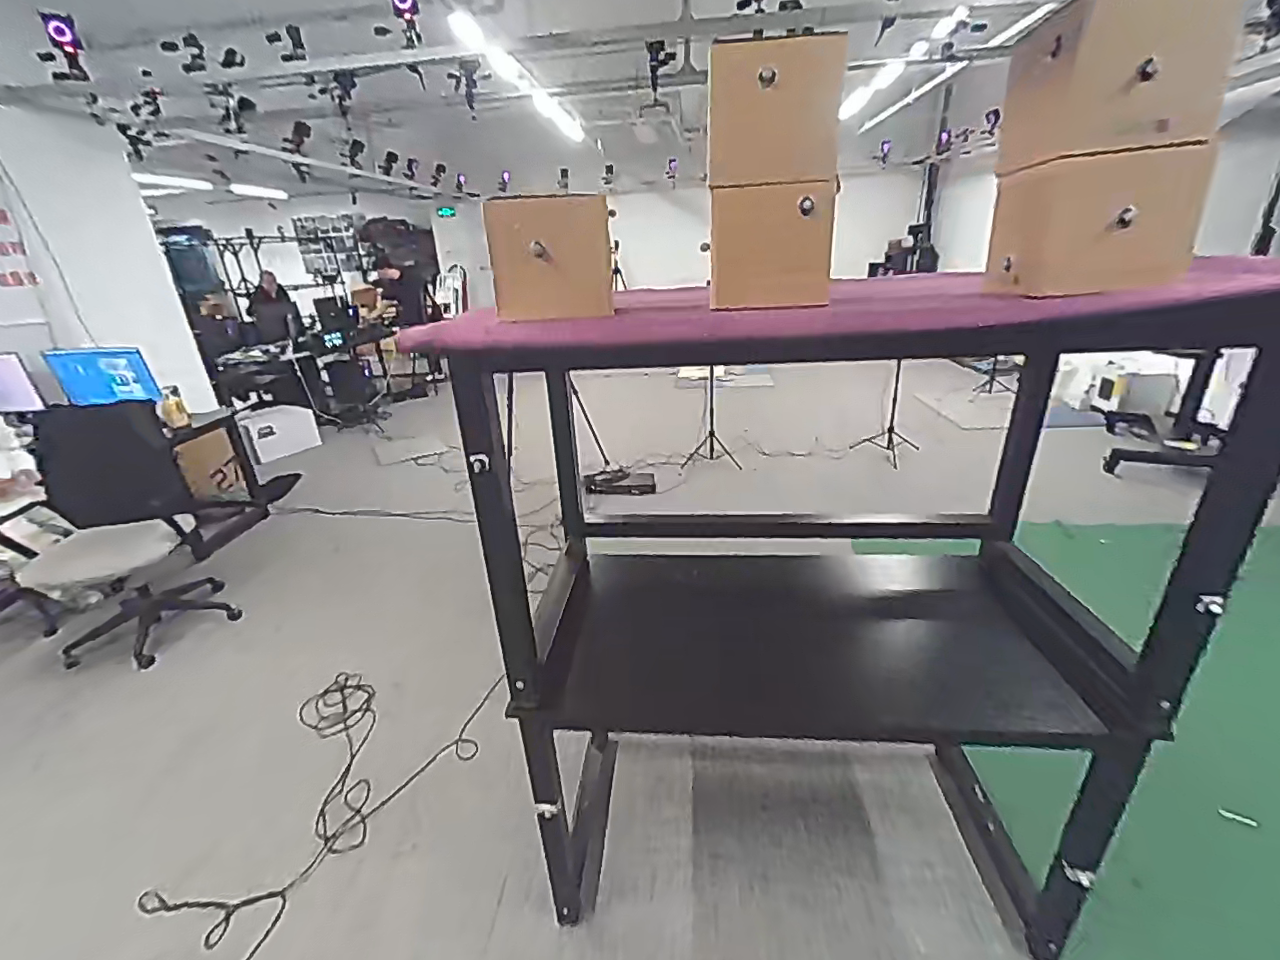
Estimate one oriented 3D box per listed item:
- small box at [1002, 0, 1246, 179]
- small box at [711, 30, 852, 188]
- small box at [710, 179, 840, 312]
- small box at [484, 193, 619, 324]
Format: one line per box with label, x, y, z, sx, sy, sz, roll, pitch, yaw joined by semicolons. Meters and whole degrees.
small box;0.601;-0.500;0.693;0.168;0.176;0.179;-1;21;8
small box;0.192;-0.509;0.783;0.179;0.176;0.168;1;22;7
small box;0.199;-0.355;0.839;0.179;0.176;0.168;0;22;8
small box;-0.128;-0.343;0.847;0.179;0.176;0.168;-4;24;-2
